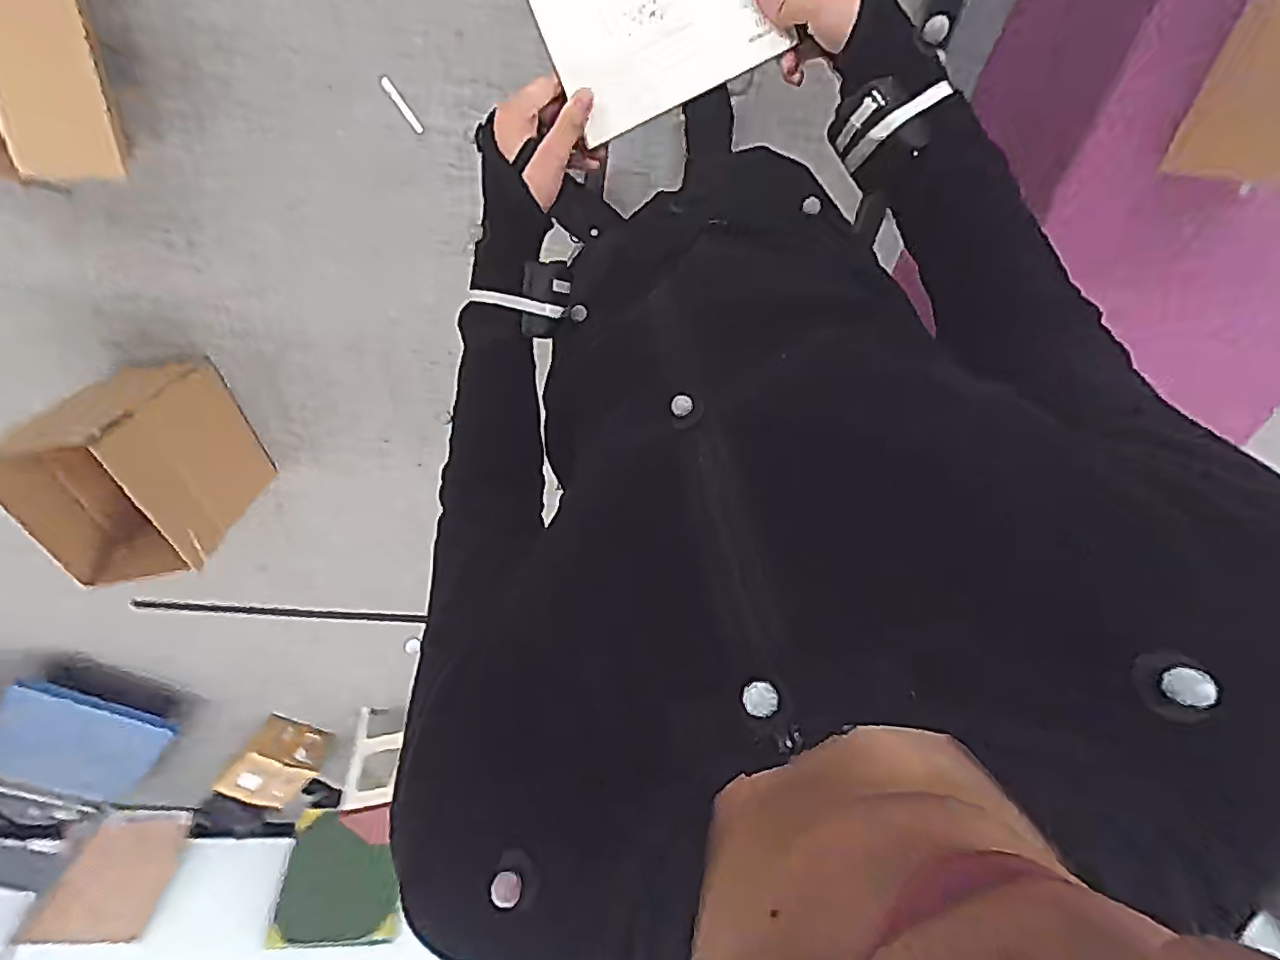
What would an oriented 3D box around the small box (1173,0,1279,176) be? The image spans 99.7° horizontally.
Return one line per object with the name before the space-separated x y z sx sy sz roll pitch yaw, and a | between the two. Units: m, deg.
small box | 0.770 -0.438 0.597 0.168 0.176 0.179 1 127 -4
